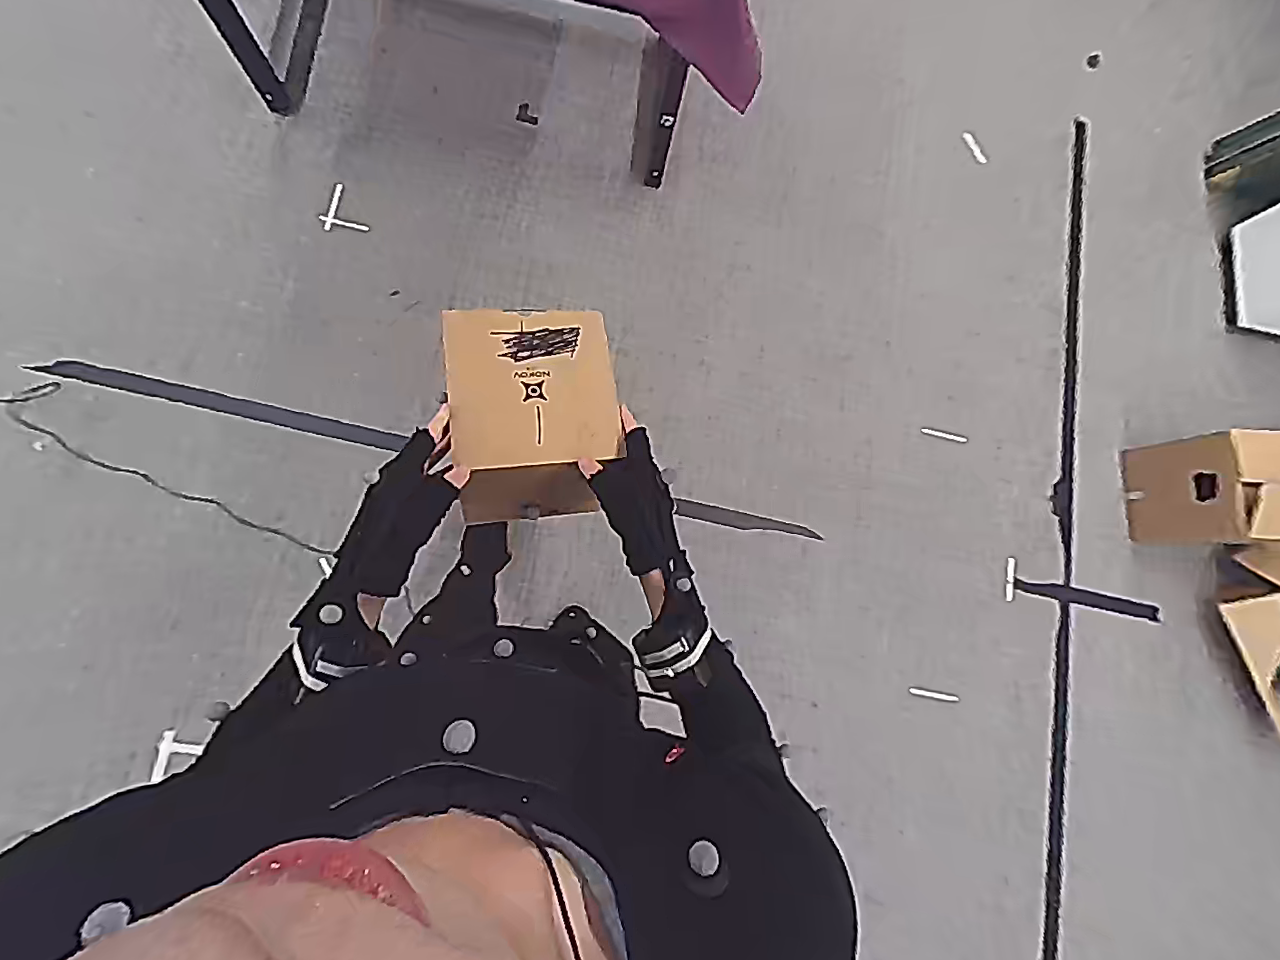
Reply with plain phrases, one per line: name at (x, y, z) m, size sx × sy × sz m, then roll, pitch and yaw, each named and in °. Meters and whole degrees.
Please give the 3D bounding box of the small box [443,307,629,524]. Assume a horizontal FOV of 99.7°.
small box at (-0.121, -0.066, 0.594) m, size 0.168 × 0.176 × 0.179 m, roll -5°, pitch 69°, yaw -16°
